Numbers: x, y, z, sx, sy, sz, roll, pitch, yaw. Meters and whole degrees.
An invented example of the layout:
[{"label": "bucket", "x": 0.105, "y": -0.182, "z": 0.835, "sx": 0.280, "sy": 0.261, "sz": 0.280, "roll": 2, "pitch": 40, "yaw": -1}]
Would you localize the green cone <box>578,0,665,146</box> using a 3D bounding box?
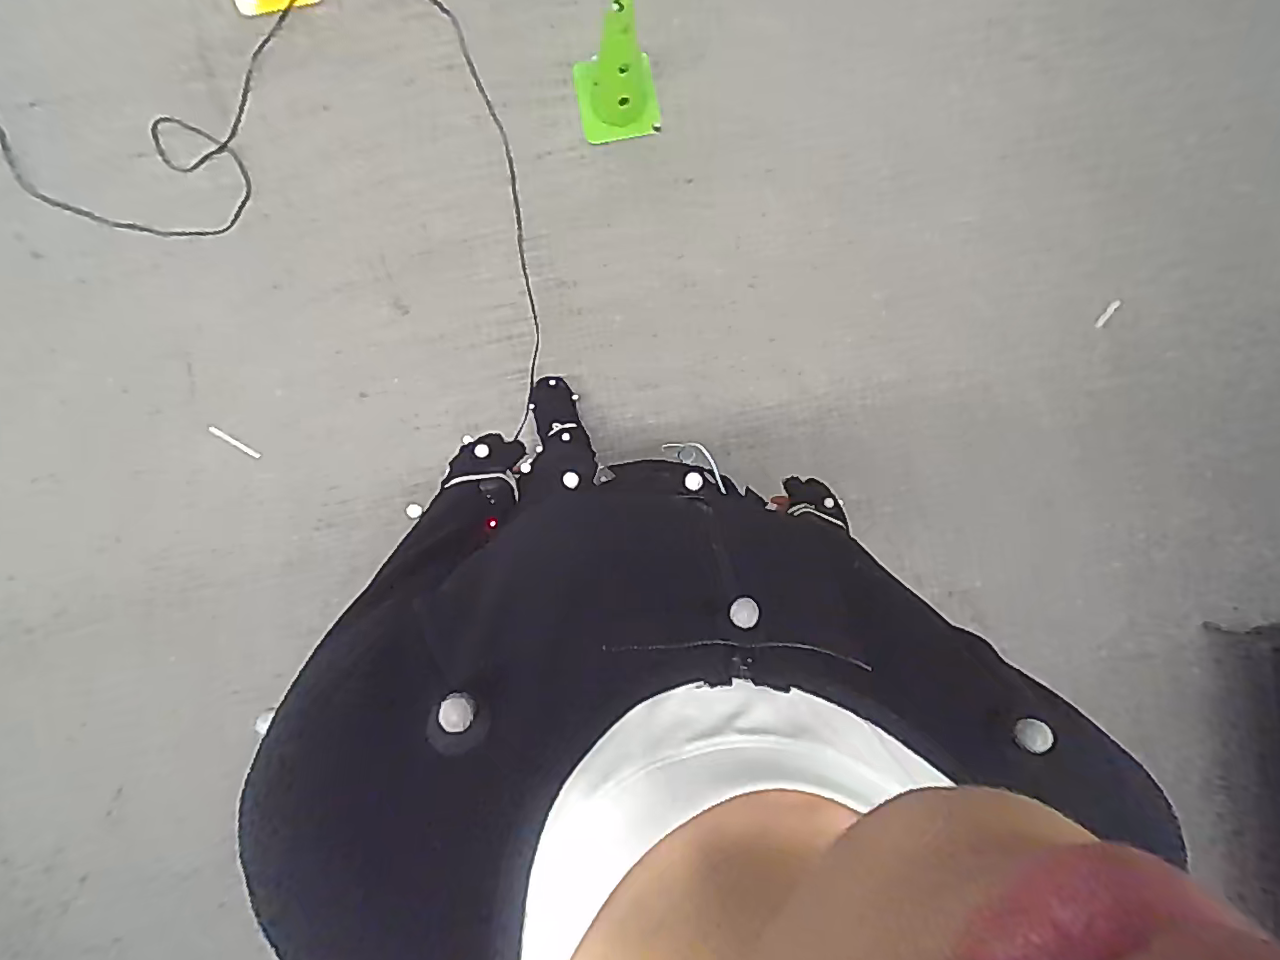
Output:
[{"label": "green cone", "x": -0.039, "y": -0.961, "z": 1.214, "sx": 0.202, "sy": 0.368, "sz": 0.200, "roll": -12, "pitch": 95, "yaw": -1}]
